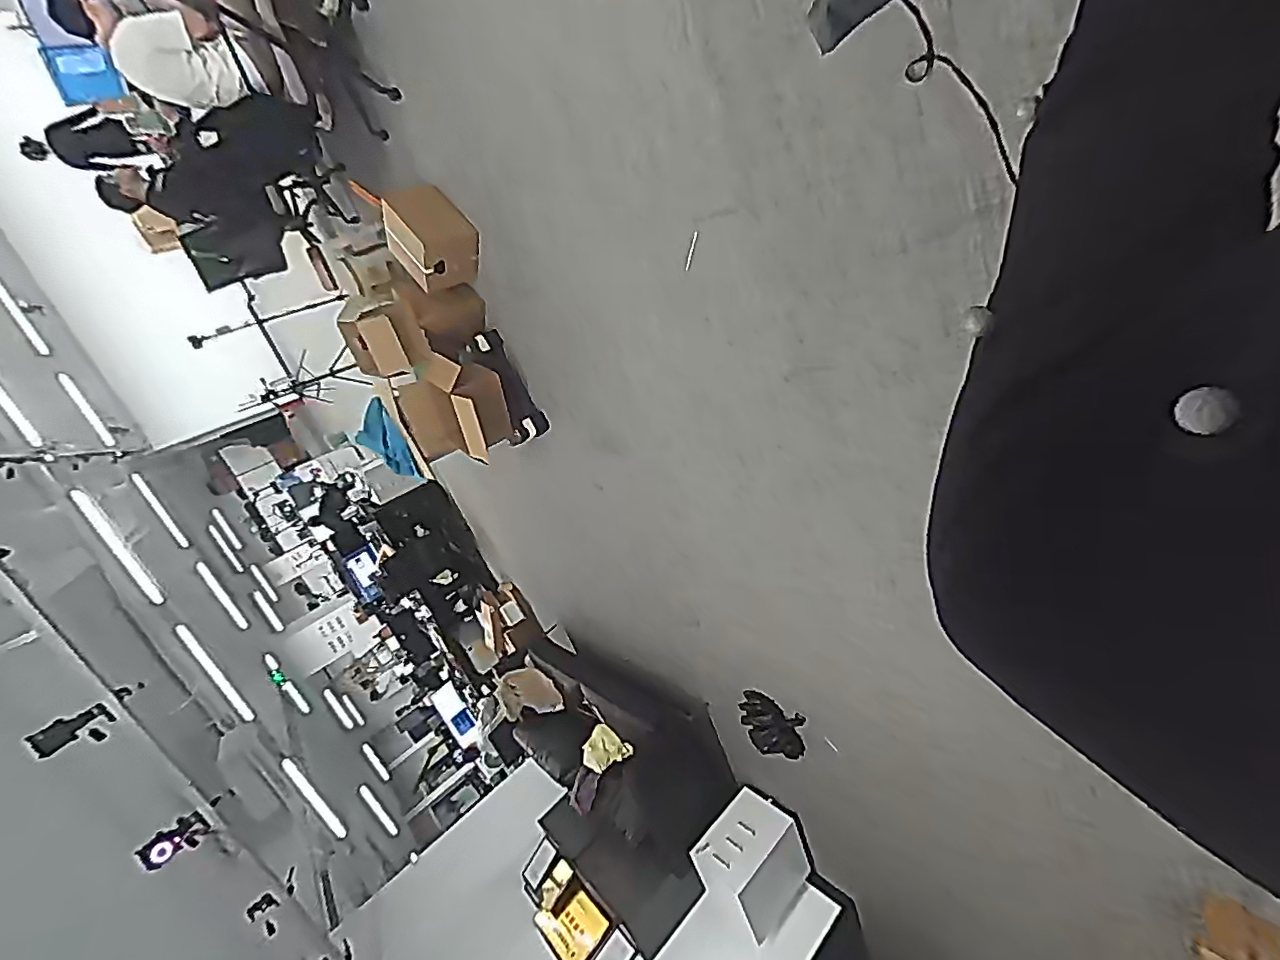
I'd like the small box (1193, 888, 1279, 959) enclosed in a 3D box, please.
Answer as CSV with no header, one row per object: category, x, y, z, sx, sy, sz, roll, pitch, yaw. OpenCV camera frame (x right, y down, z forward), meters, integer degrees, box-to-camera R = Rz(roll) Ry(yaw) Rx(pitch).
small box,1.705,1.315,1.525,0.179,0.176,0.168,9,126,53
